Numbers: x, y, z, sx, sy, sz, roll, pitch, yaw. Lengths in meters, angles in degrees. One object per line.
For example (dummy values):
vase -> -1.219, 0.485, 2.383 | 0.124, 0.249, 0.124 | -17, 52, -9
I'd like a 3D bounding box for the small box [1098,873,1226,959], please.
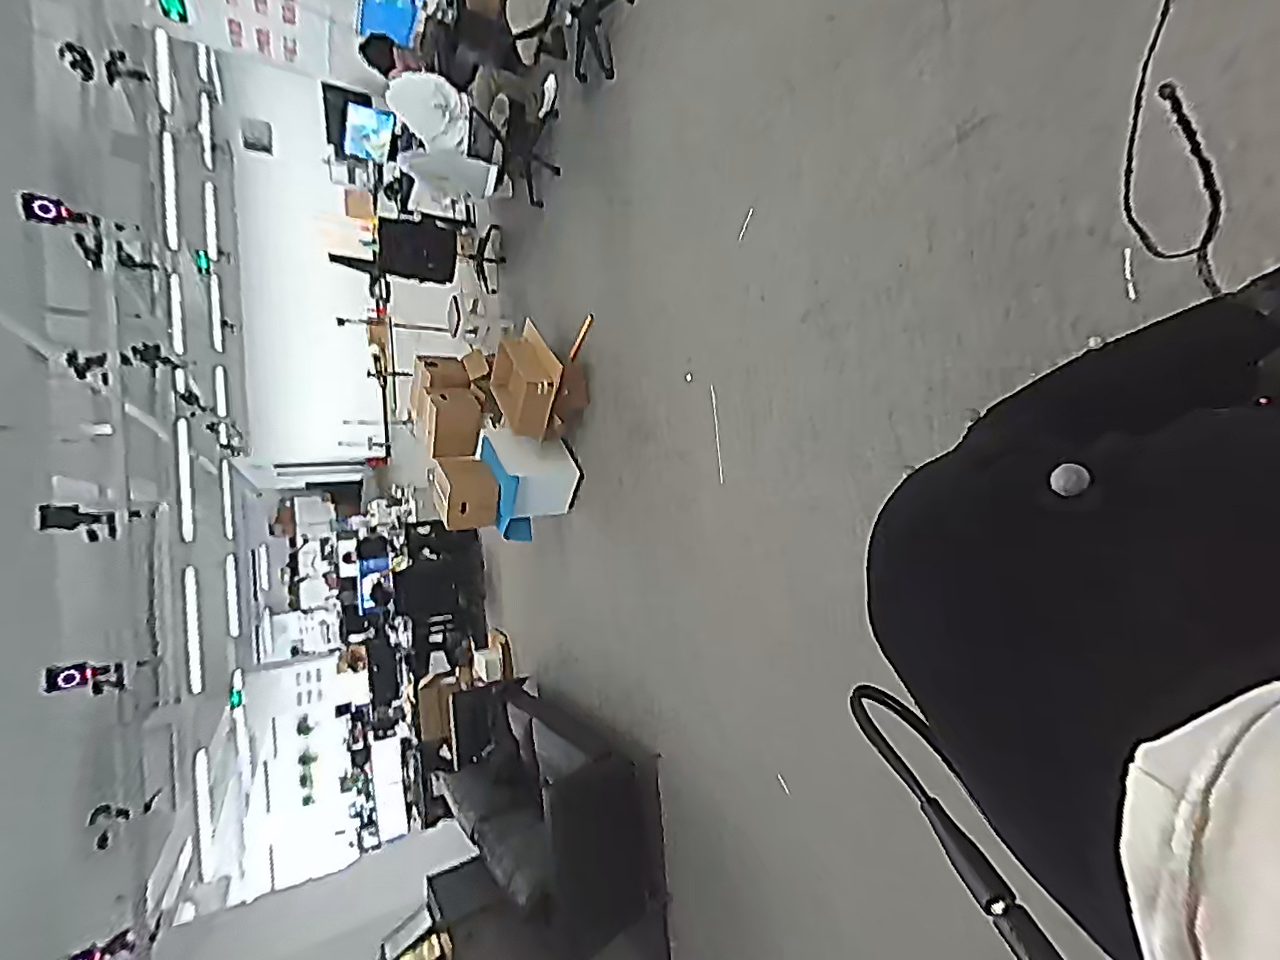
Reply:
small box -> 1.177, 1.034, 1.215 | 0.179, 0.176, 0.168 | -6, 86, 59
